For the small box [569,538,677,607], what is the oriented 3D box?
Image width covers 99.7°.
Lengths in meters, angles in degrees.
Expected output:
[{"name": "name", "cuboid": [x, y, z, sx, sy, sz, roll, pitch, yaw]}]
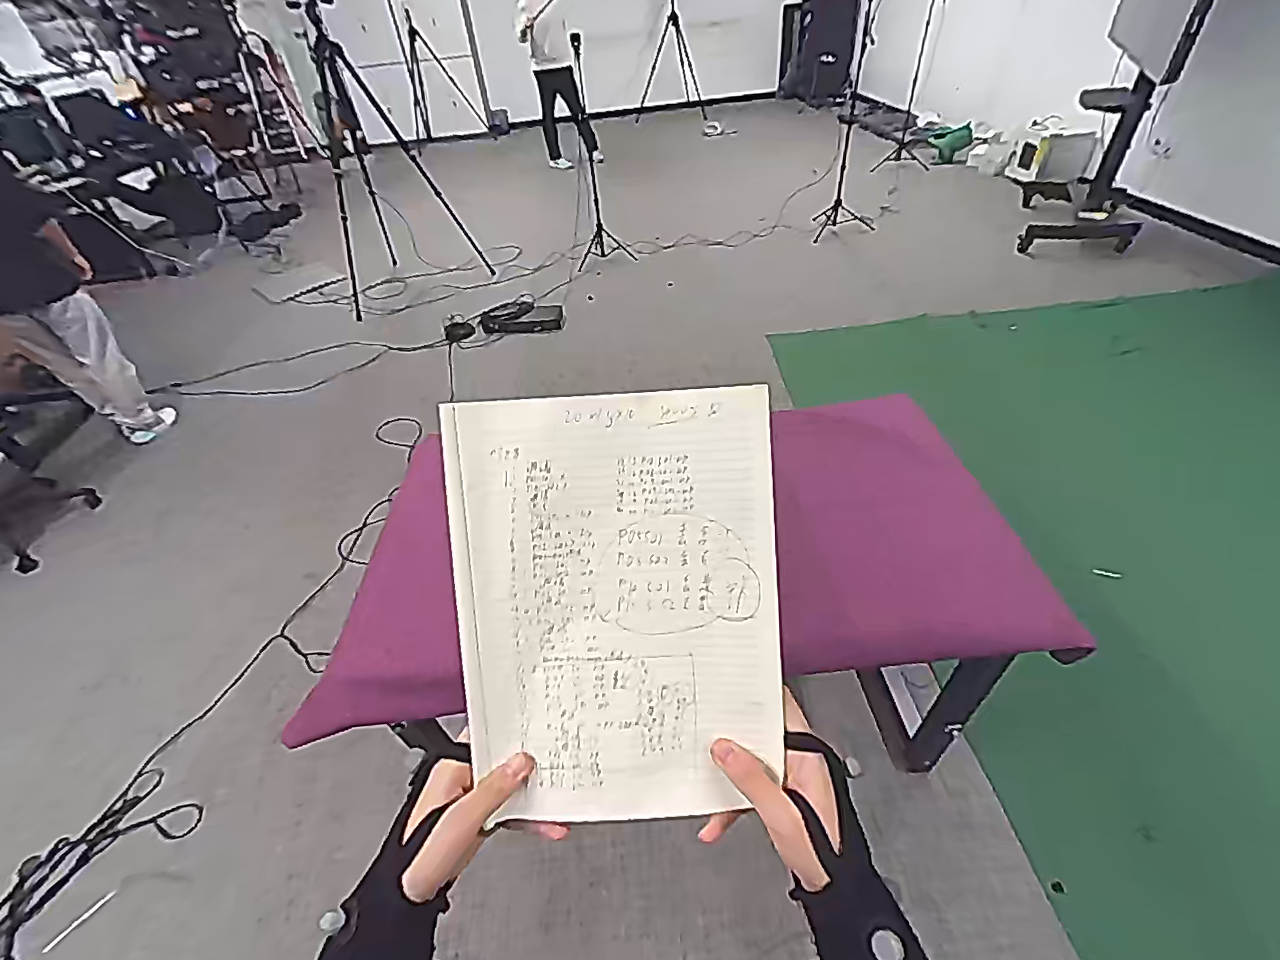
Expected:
[{"name": "small box", "cuboid": [-0.025, 0.109, 0.946, 0.168, 0.176, 0.179, -5, 43, 1]}]

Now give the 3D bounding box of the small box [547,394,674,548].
[{"name": "small box", "cuboid": [-0.038, -0.009, 0.830, 0.168, 0.176, 0.179, -5, 41, 2]}]
